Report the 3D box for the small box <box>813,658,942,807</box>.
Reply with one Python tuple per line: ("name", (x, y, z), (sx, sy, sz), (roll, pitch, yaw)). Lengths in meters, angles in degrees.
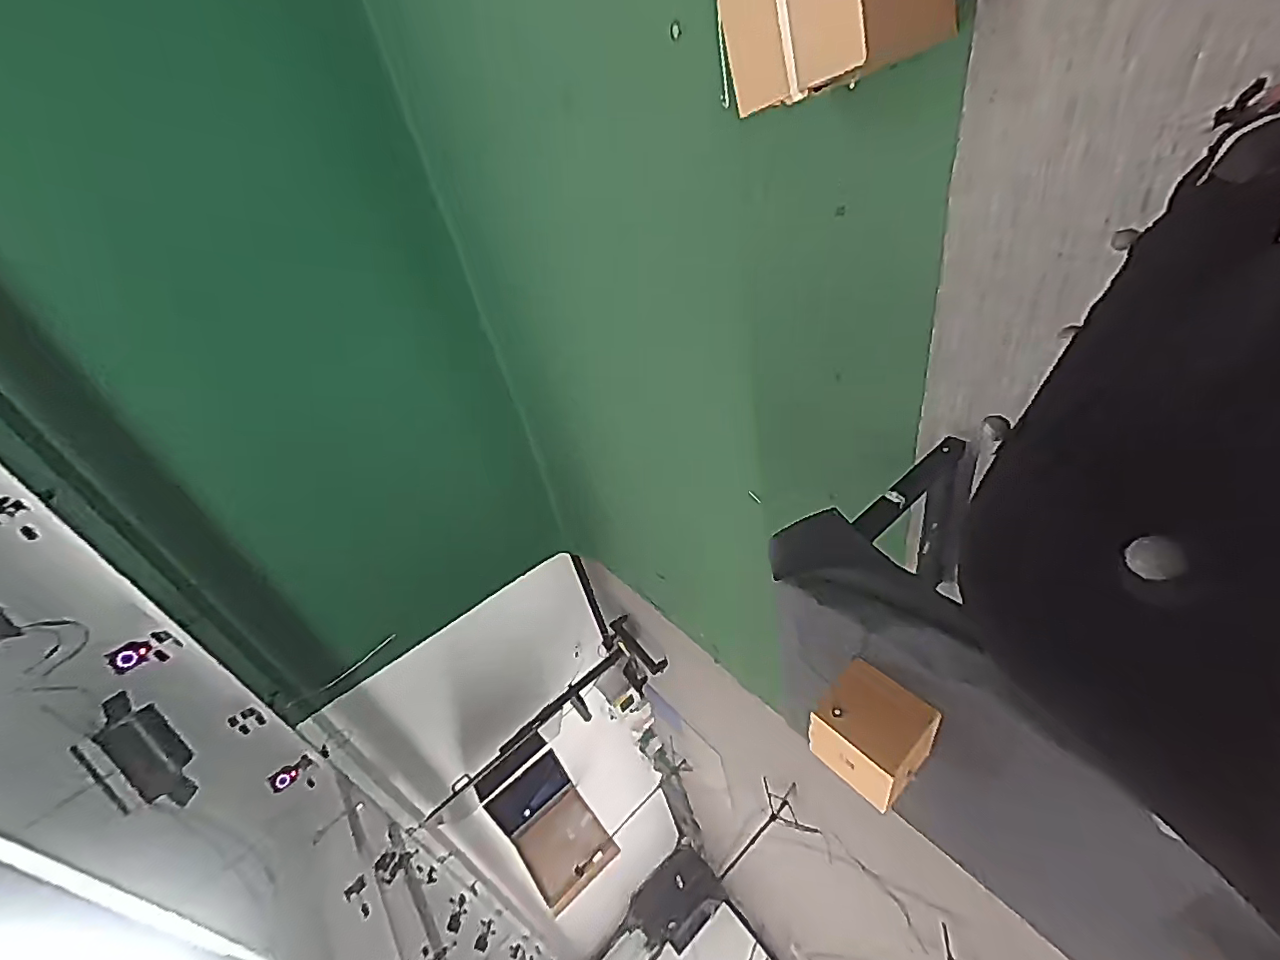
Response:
("small box", (0.469, 0.494, 1.077), (0.179, 0.176, 0.168), (33, 147, 43))
